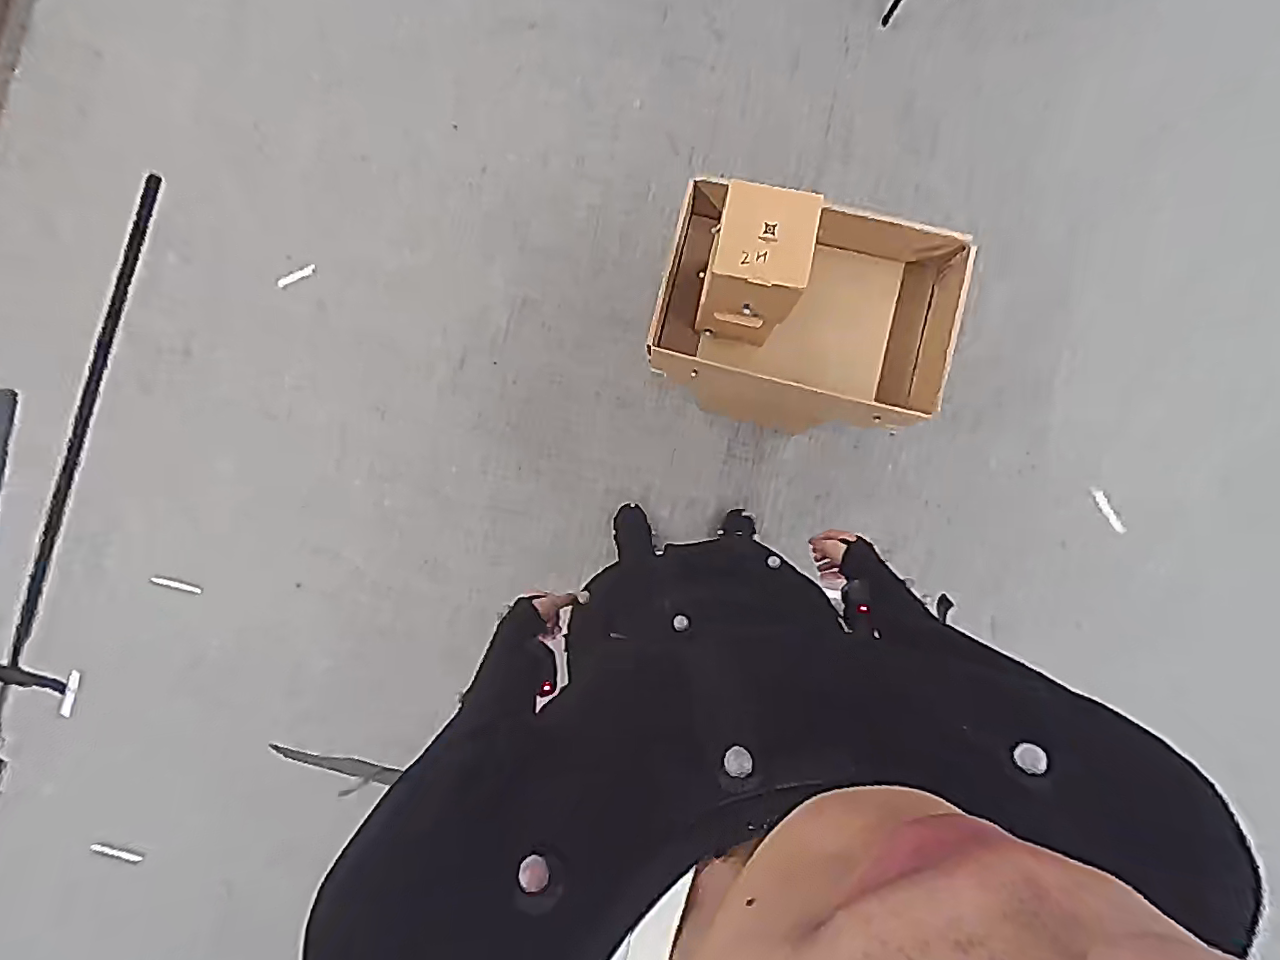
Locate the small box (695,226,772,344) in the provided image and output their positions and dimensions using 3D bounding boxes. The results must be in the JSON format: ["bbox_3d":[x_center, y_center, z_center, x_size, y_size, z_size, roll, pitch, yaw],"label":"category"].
[{"bbox_3d":[0.217,-0.414,1.177,0.168,0.176,0.179,13,86,2],"label":"small box"}]

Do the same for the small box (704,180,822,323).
[{"bbox_3d":[0.220,-0.418,1.012,0.168,0.176,0.179,12,87,2],"label":"small box"}]
